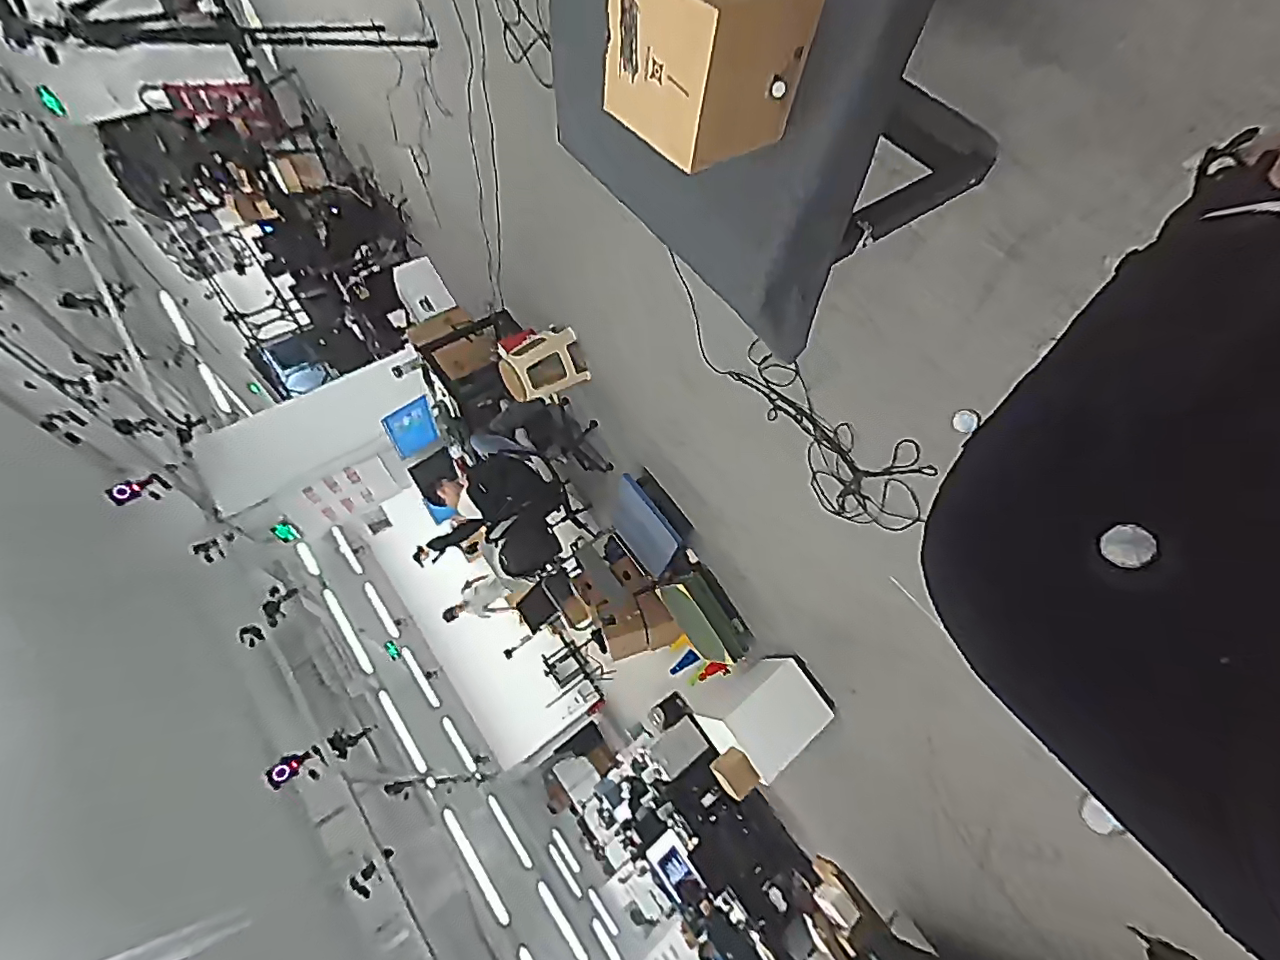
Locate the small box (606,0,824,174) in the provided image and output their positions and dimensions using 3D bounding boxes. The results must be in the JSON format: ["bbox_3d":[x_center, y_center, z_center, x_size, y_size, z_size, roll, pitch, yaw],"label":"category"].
[{"bbox_3d":[0.079,-0.512,0.649,0.179,0.176,0.168,49,157,20],"label":"small box"}]
